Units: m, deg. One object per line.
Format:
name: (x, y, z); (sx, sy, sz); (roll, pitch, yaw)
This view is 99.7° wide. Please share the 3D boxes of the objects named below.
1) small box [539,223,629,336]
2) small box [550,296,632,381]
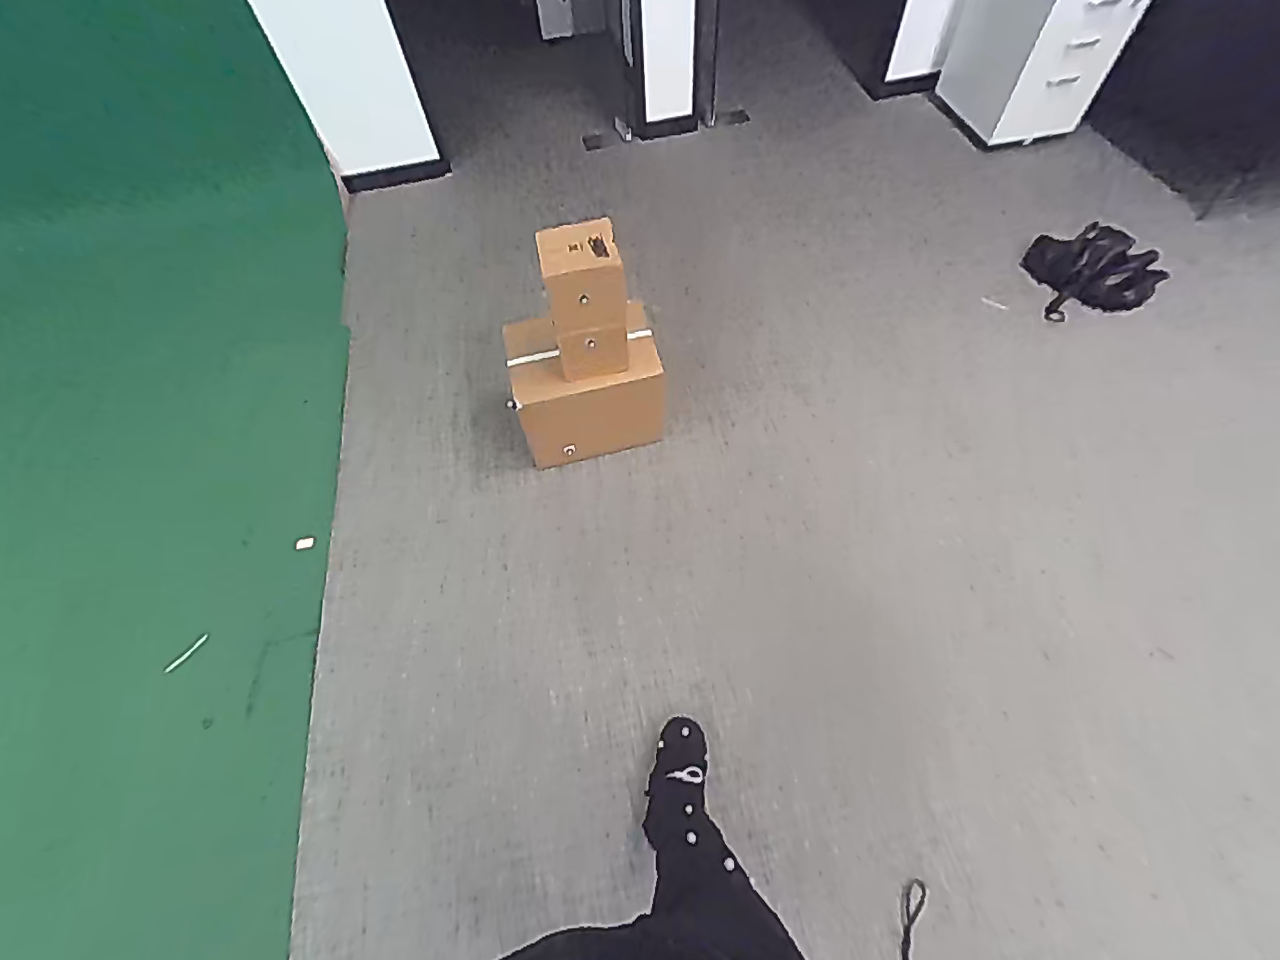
small box: (-0.126, -0.466, 1.266); (0.179, 0.176, 0.168); (-13, 60, -5)
small box: (-0.124, -0.379, 1.406); (0.179, 0.176, 0.168); (-12, 60, -5)
